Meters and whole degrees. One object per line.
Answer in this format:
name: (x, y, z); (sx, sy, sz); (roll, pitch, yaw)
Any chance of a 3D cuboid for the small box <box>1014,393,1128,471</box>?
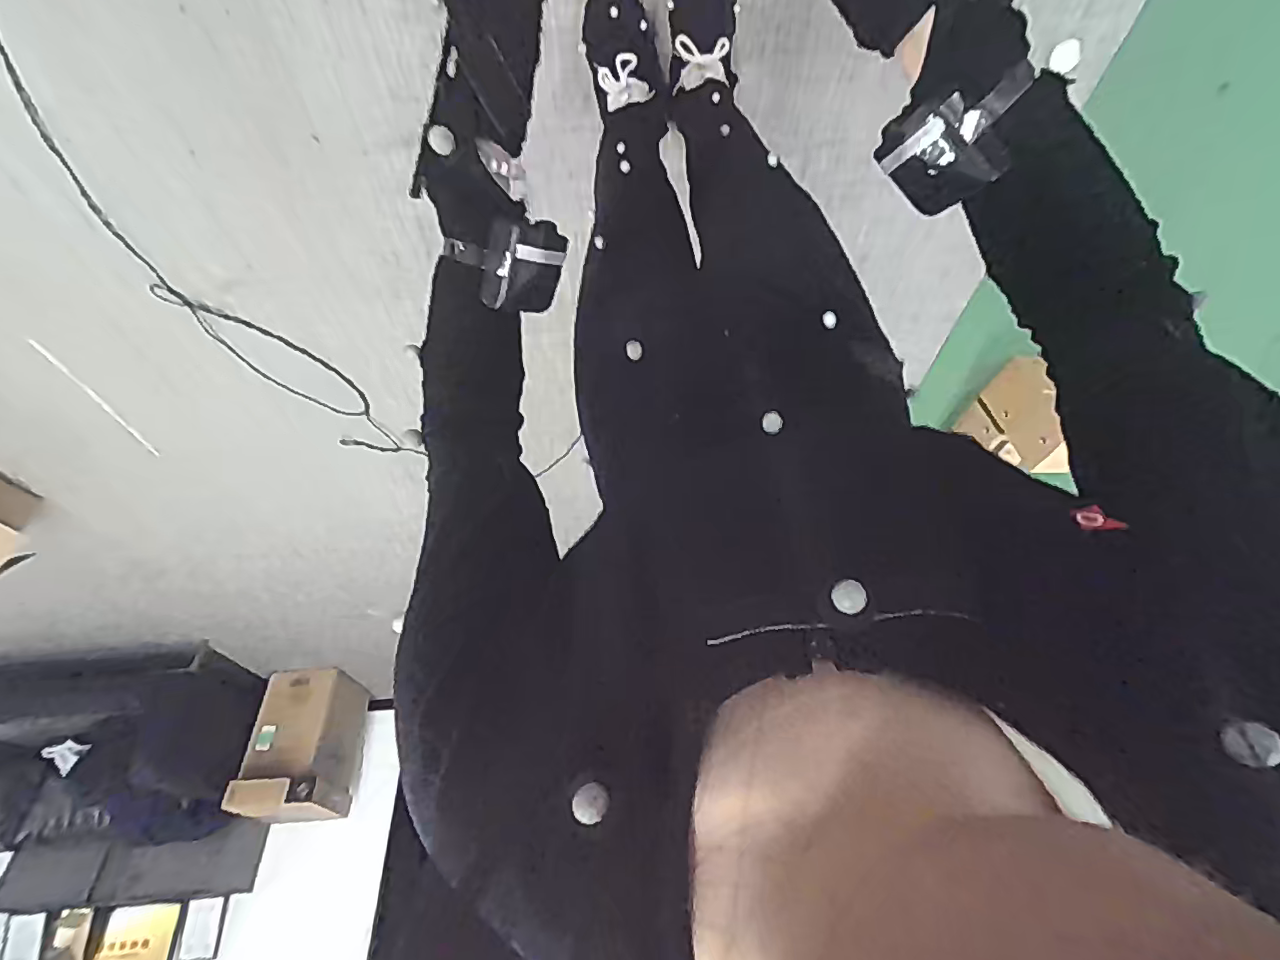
small box: (1.263, -0.143, 1.604); (0.168, 0.176, 0.179); (0, 143, -6)
